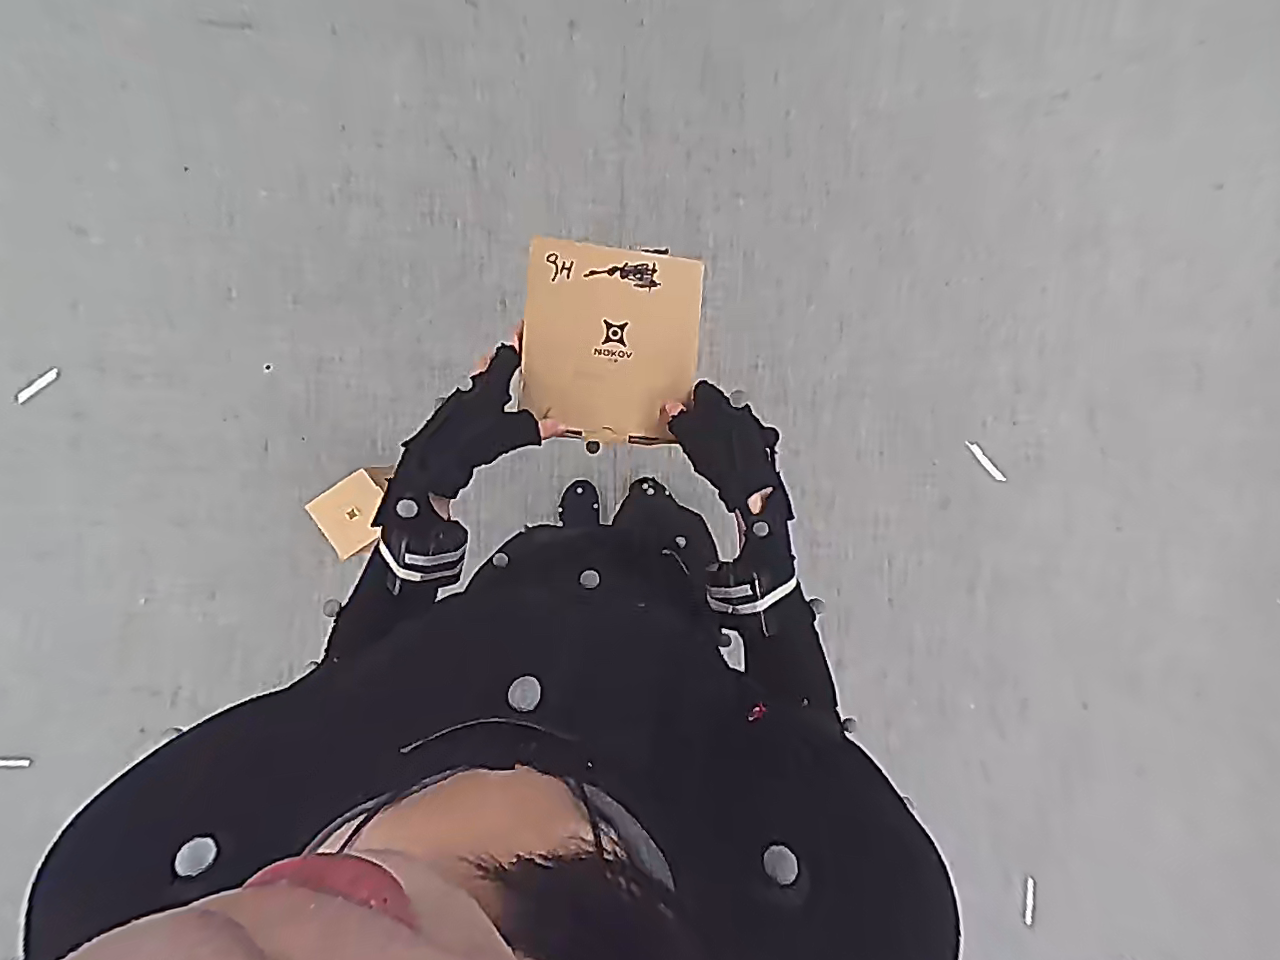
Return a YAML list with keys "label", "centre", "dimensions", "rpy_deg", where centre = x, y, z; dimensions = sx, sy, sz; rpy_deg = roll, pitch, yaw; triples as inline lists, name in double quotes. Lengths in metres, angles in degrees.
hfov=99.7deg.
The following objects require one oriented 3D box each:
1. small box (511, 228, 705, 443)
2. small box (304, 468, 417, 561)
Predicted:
- label: "small box"
  centre: [-0.042, -0.134, 0.568]
  dimensions: [0.168, 0.176, 0.179]
  rpy_deg: [4, 93, -12]
- label: "small box"
  centre: [-0.704, 0.081, 1.394]
  dimensions: [0.179, 0.176, 0.168]
  rpy_deg: [-35, 92, -1]
